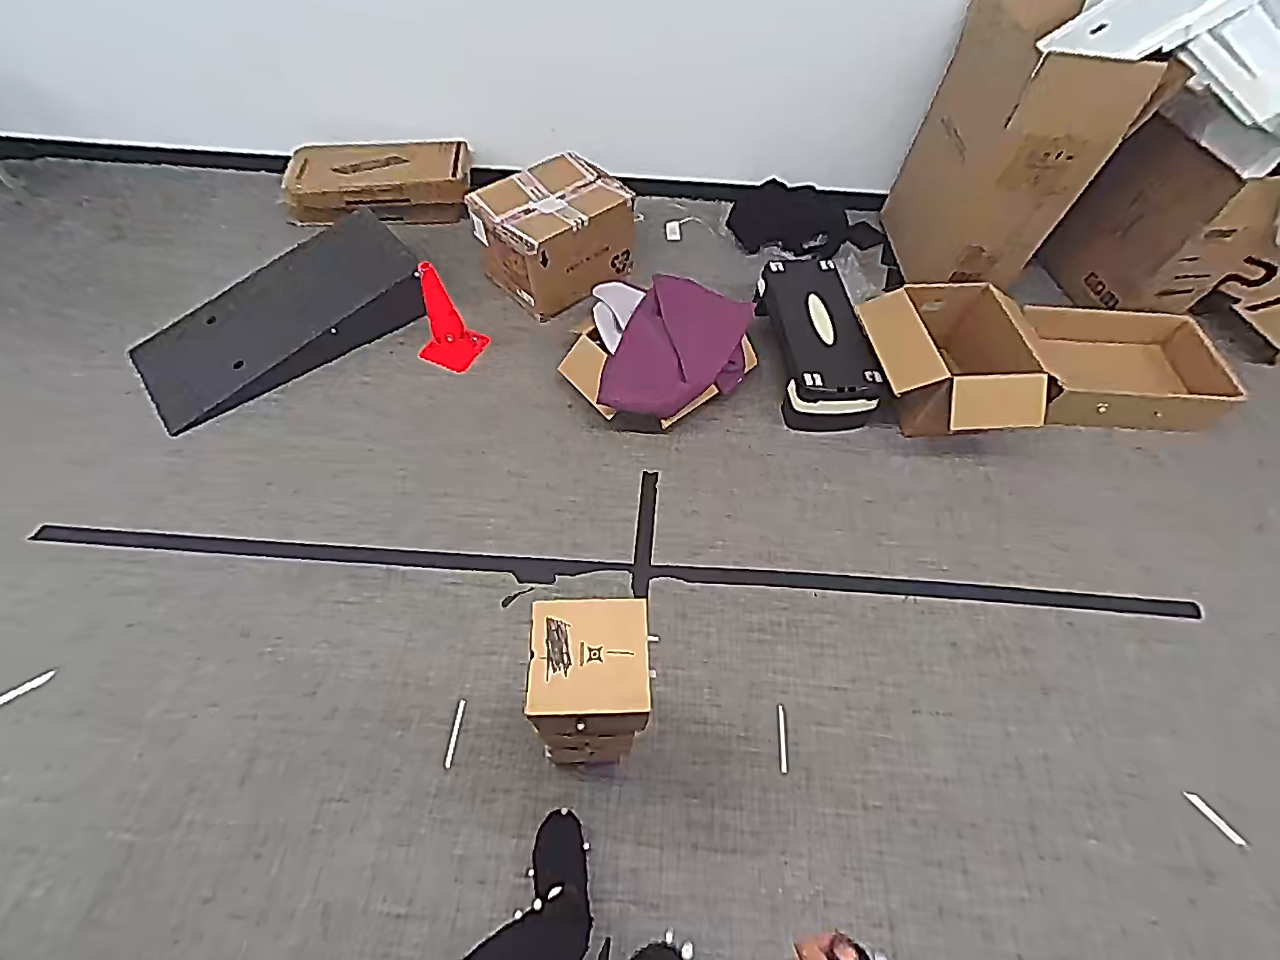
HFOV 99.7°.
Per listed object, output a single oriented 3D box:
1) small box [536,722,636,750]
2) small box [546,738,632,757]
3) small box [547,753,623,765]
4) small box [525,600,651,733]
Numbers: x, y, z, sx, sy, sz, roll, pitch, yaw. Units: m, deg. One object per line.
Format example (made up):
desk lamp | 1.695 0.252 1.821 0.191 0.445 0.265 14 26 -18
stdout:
small box | -0.088 0.384 0.987 0.168 0.176 0.179 2 58 0
small box | -0.100 0.475 1.125 0.168 0.176 0.179 -2 58 -3
small box | -0.122 0.560 1.264 0.168 0.176 0.179 -2 59 -2
small box | -0.075 0.296 0.849 0.179 0.176 0.168 -1 58 -3
